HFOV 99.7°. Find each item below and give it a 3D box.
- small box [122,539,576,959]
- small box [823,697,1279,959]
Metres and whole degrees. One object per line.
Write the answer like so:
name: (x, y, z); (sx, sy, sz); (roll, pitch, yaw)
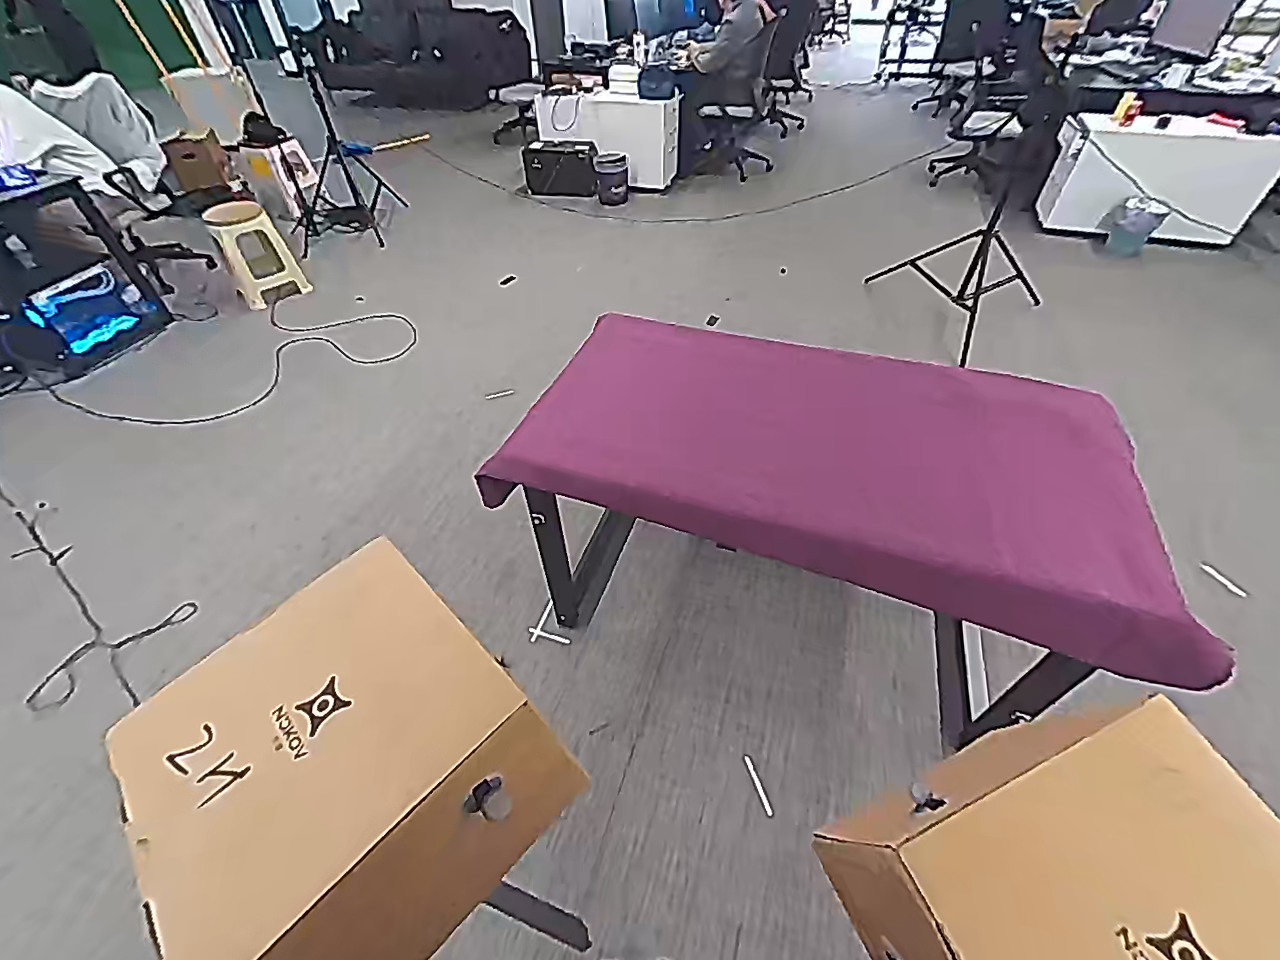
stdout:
small box: (-0.159, 0.179, 0.349); (0.168, 0.176, 0.179); (33, 62, 33)
small box: (0.236, 0.249, 0.307); (0.179, 0.176, 0.168); (-22, 61, -10)
